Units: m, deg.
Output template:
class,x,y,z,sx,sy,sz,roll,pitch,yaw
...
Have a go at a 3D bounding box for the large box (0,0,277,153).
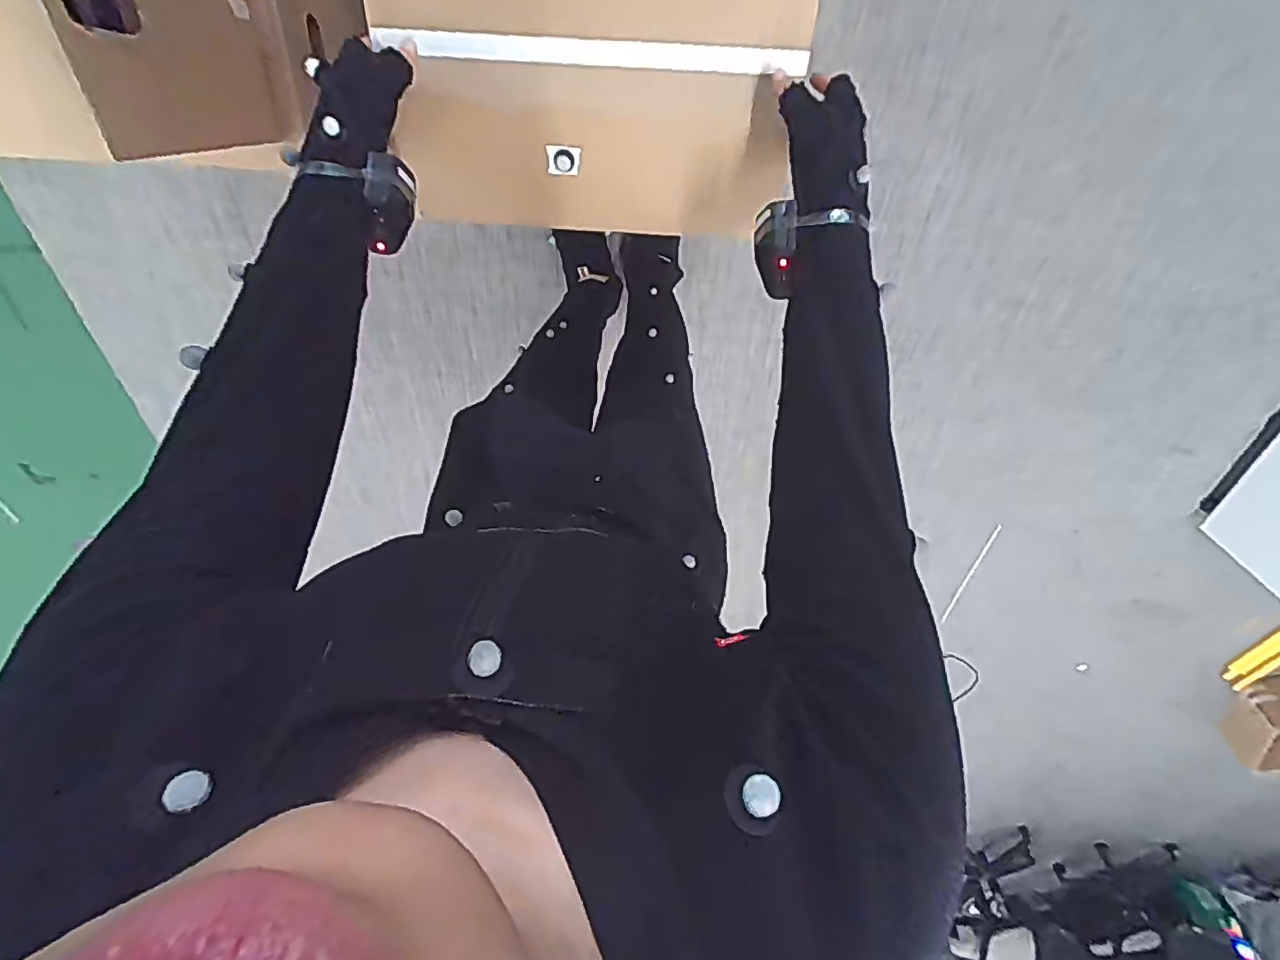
class,x,y,z,sx,sy,sz,roll,pitch,yaw
large box,-0.729,-0.560,0.601,0.408,0.320,0.320,4,124,-1
